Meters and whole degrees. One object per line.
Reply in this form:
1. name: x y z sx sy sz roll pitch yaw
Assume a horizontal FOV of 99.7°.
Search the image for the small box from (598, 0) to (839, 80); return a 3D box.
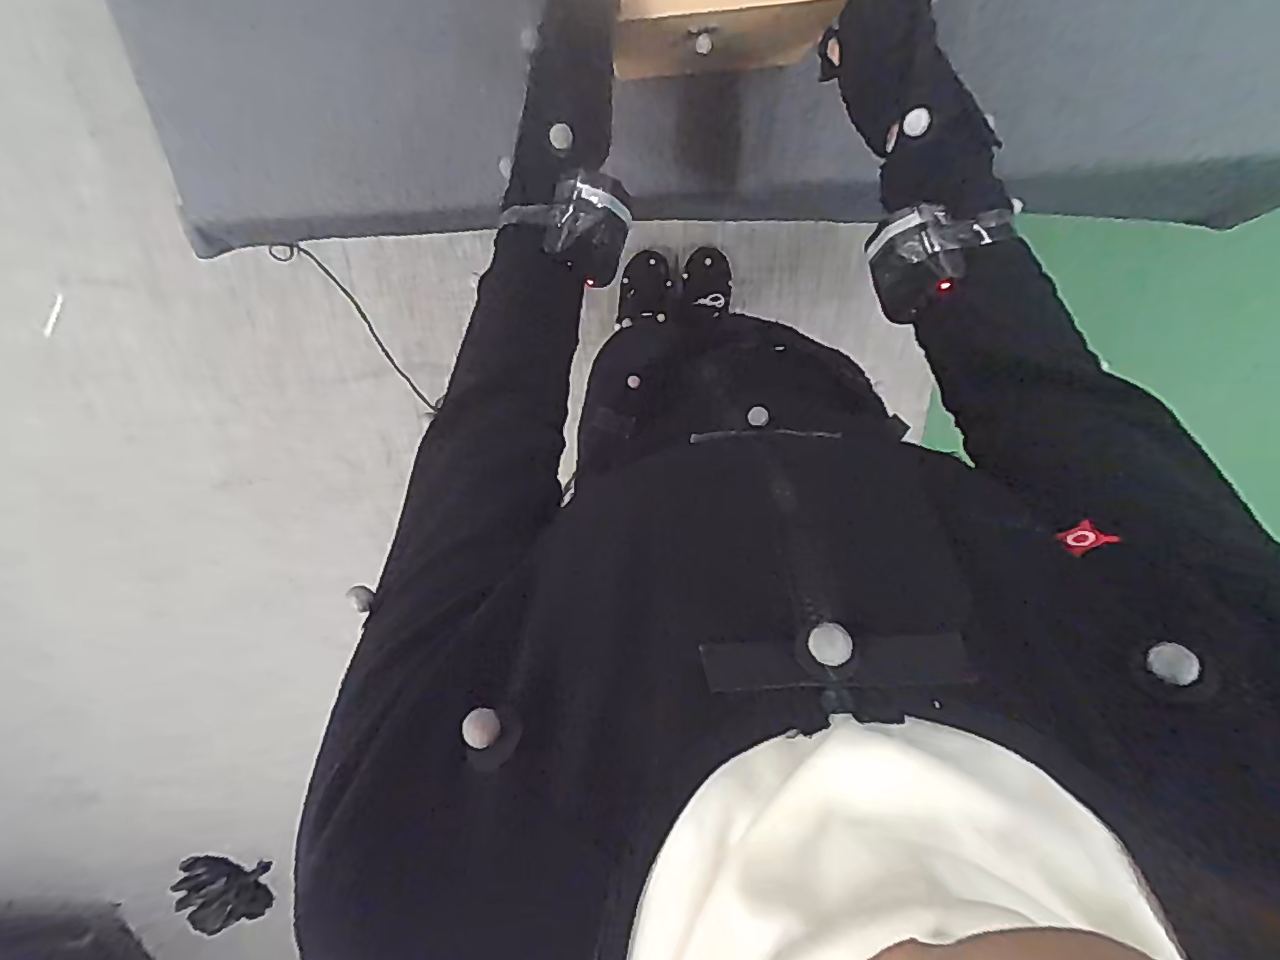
1. small box: 0.057 -0.435 0.420 0.179 0.176 0.168 -3 114 3
